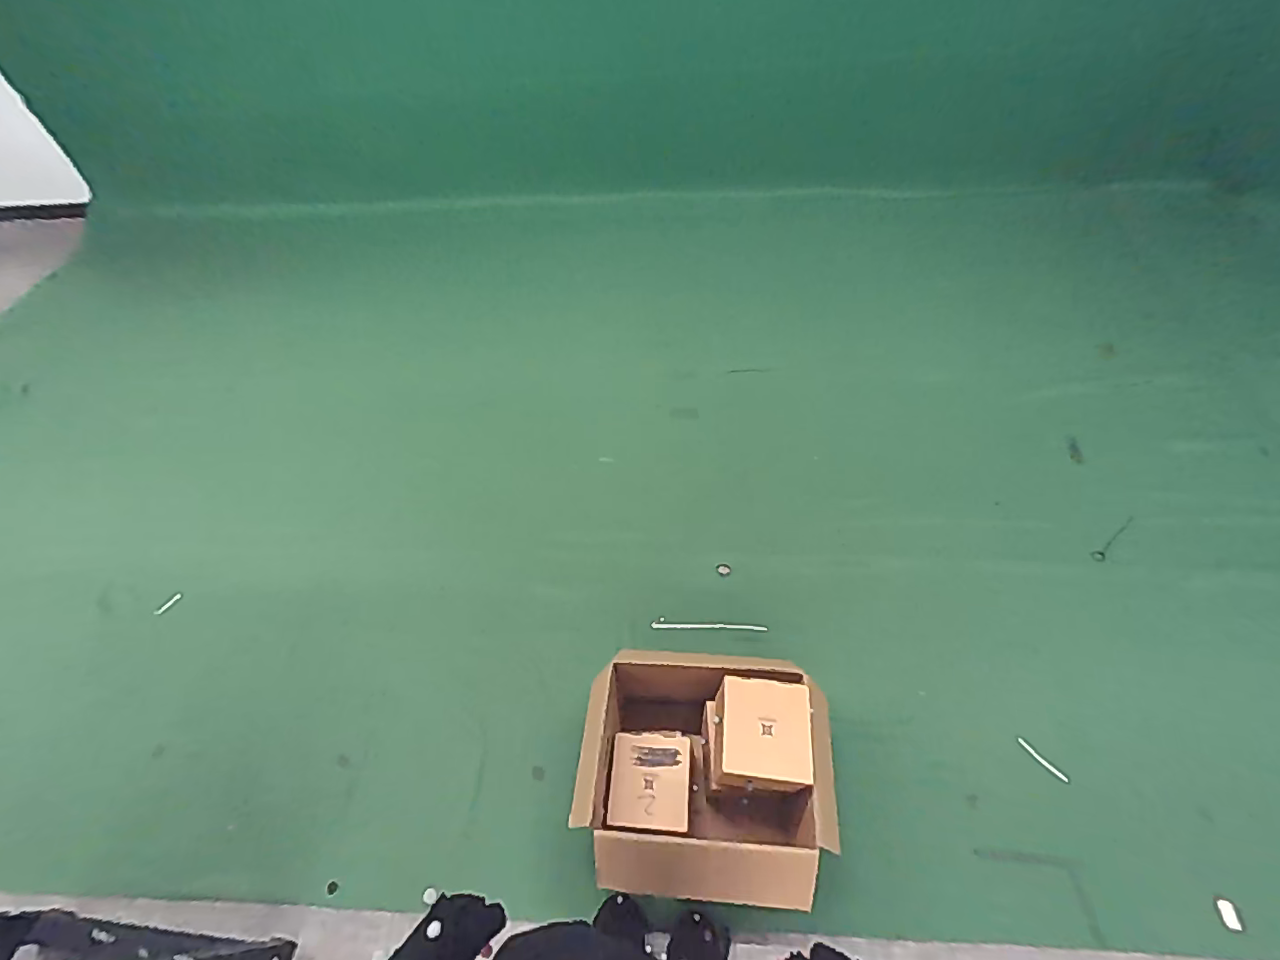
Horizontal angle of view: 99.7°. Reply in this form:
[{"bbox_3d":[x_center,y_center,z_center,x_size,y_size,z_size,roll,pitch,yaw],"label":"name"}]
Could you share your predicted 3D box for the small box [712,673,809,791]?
[{"bbox_3d":[0.235,0.508,1.079,0.168,0.176,0.179,5,54,5],"label":"small box"}]
